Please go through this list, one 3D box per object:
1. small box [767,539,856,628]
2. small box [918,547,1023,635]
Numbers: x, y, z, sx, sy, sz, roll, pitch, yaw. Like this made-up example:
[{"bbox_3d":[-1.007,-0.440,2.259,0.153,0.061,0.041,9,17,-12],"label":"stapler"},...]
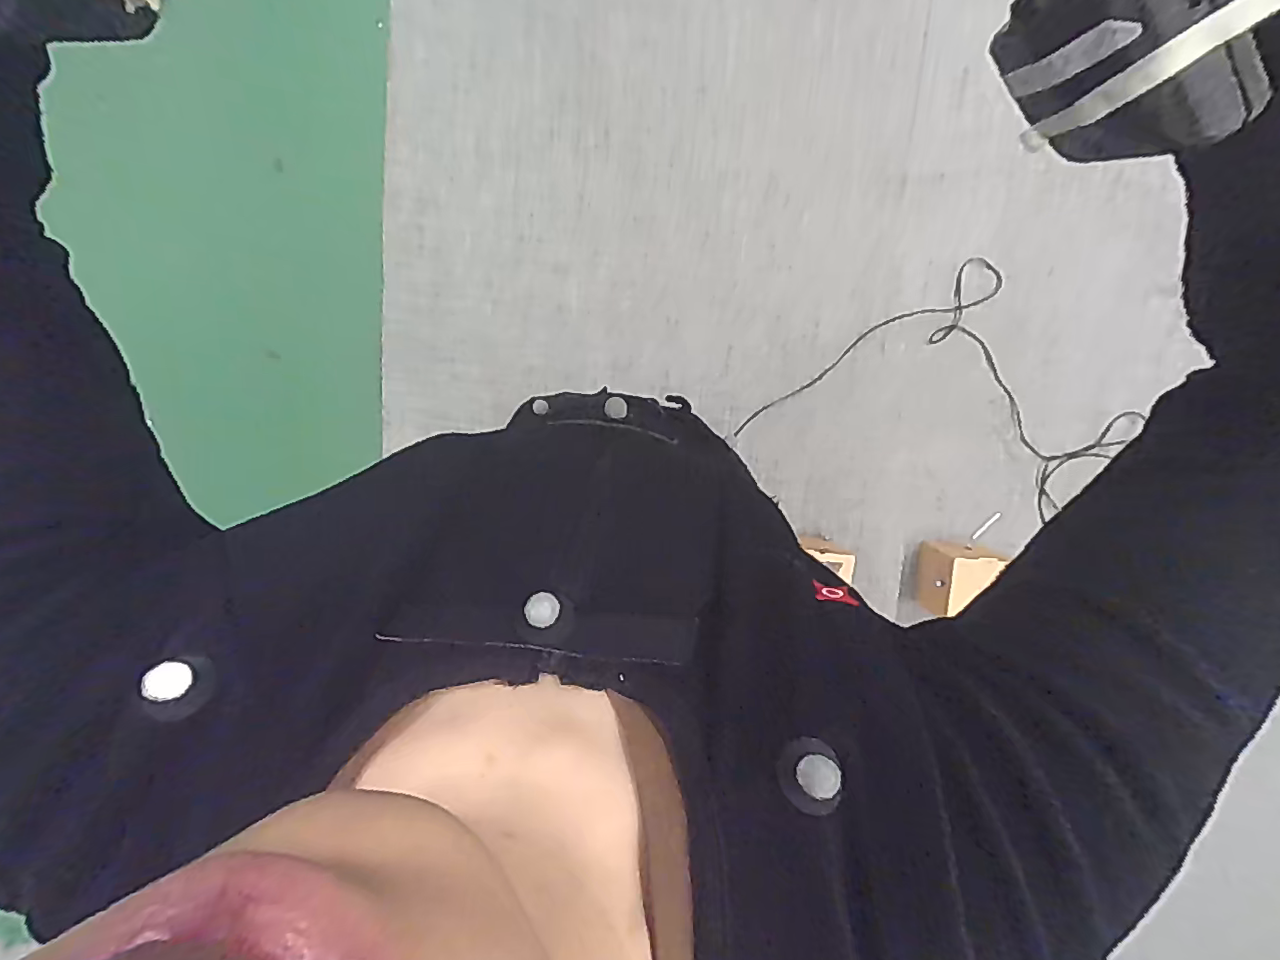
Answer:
[{"bbox_3d":[0.438,0.261,1.406,0.168,0.176,0.179,8,97,1],"label":"small box"},{"bbox_3d":[0.840,0.281,1.393,0.168,0.176,0.179,3,96,2],"label":"small box"}]
